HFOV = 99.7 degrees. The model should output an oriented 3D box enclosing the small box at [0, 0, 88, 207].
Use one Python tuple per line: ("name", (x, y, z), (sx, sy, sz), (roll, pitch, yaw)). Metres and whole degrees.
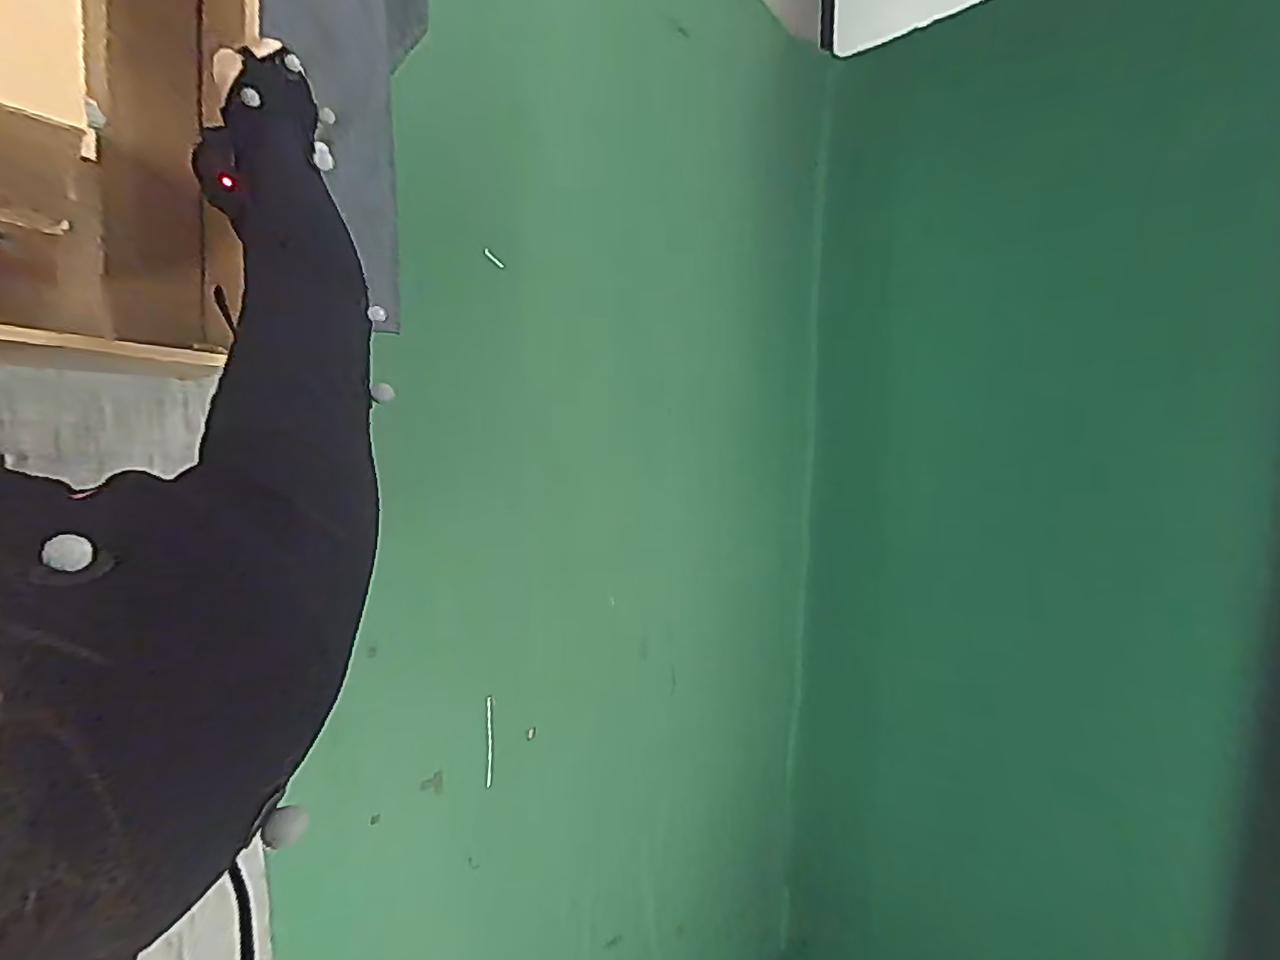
("small box", (-0.413, -0.265, 0.272), (0.179, 0.176, 0.168), (-3, 94, -51))
